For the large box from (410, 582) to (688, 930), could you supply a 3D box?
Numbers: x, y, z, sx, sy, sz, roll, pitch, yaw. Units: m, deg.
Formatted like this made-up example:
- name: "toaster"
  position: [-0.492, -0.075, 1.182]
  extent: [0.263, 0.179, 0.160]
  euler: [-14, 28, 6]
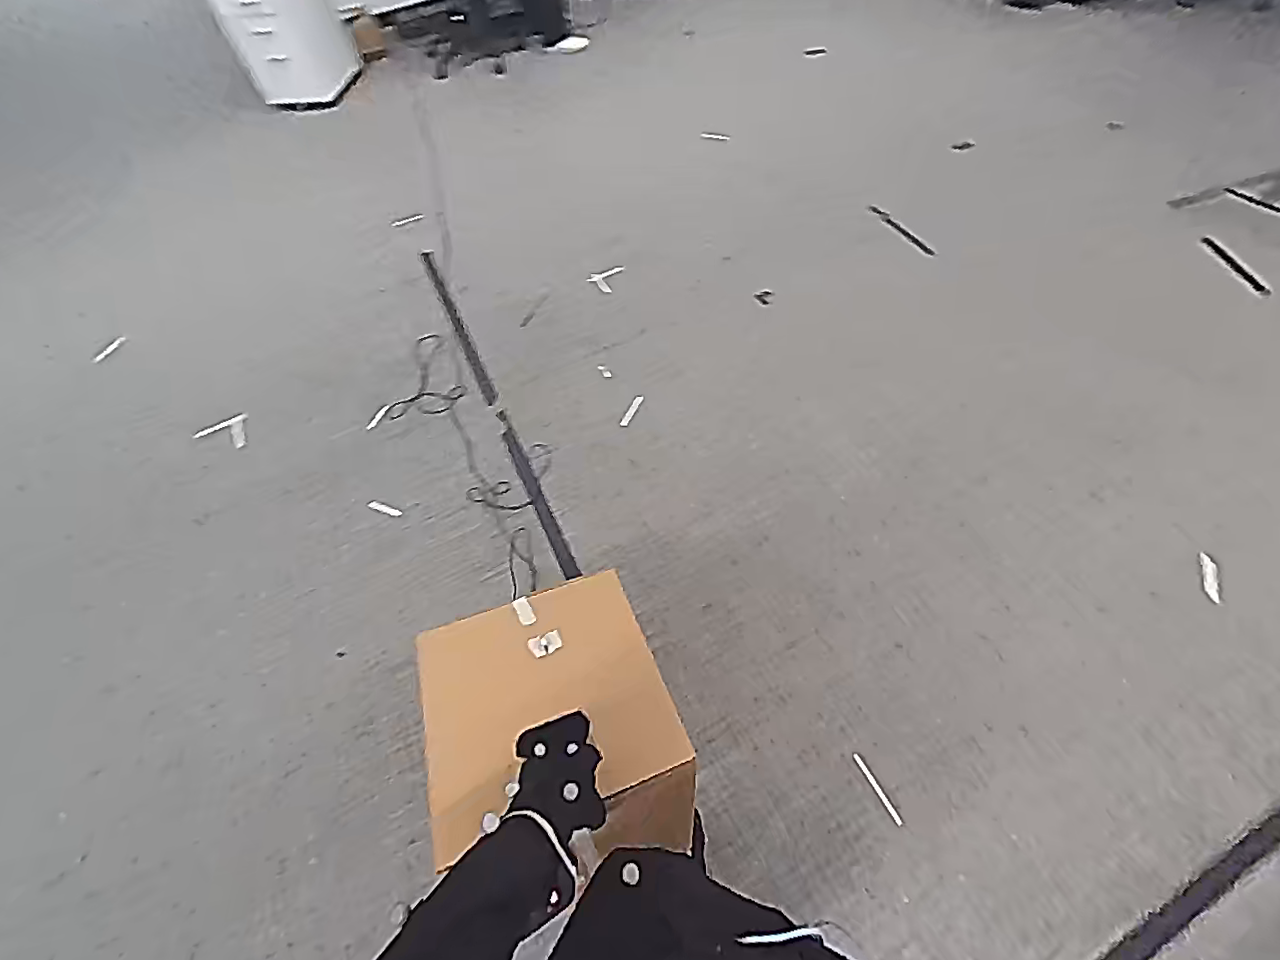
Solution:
- name: "large box"
  position: [-0.130, 0.437, 0.865]
  extent: [0.320, 0.408, 0.320]
  euler: [-18, 45, -13]
